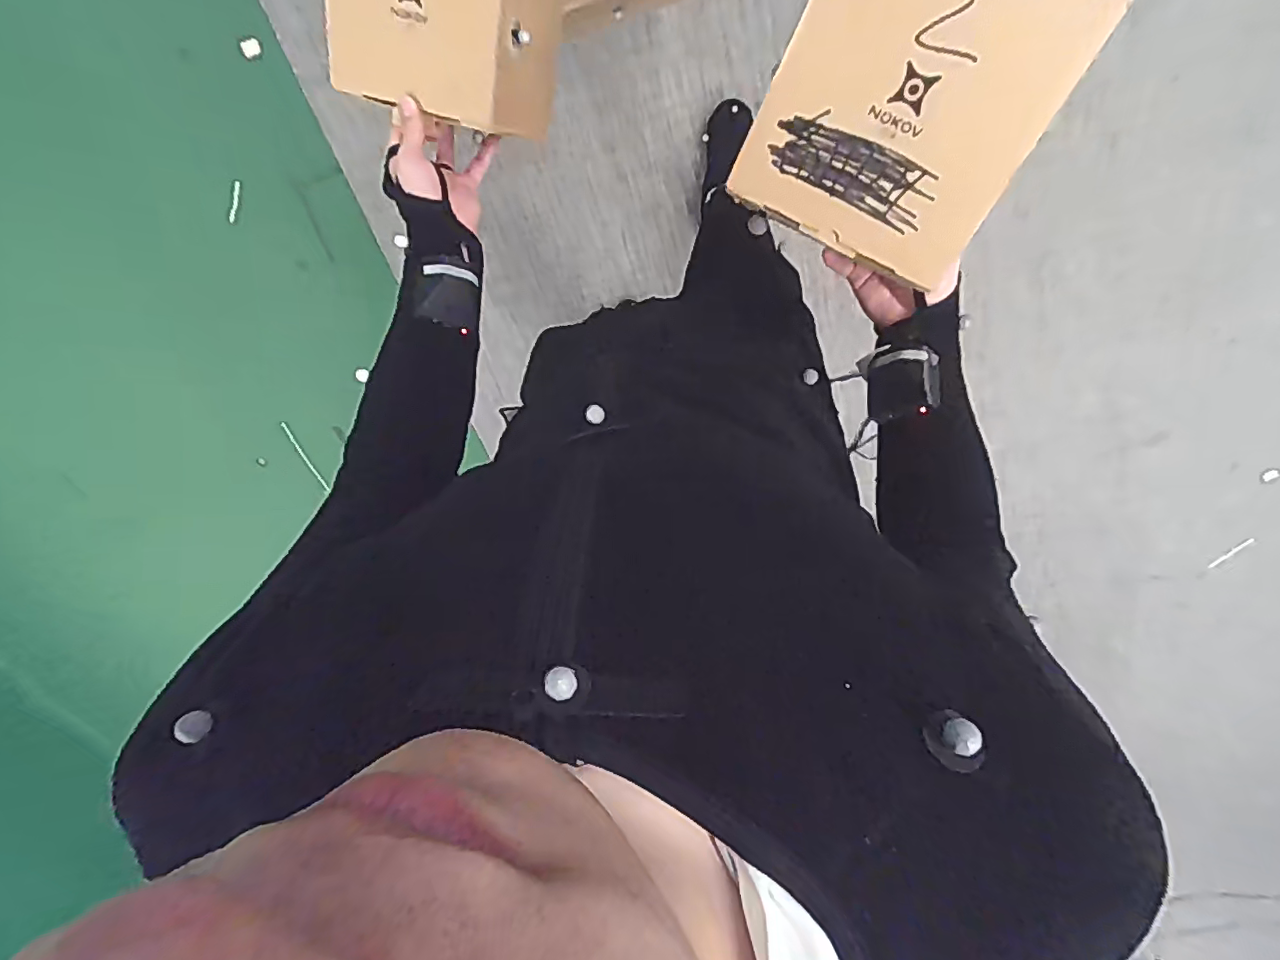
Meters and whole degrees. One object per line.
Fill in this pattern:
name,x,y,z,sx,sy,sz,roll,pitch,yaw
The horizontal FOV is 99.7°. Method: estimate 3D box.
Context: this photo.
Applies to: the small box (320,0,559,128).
small box,-0.188,-0.474,0.538,0.168,0.176,0.179,17,120,2
